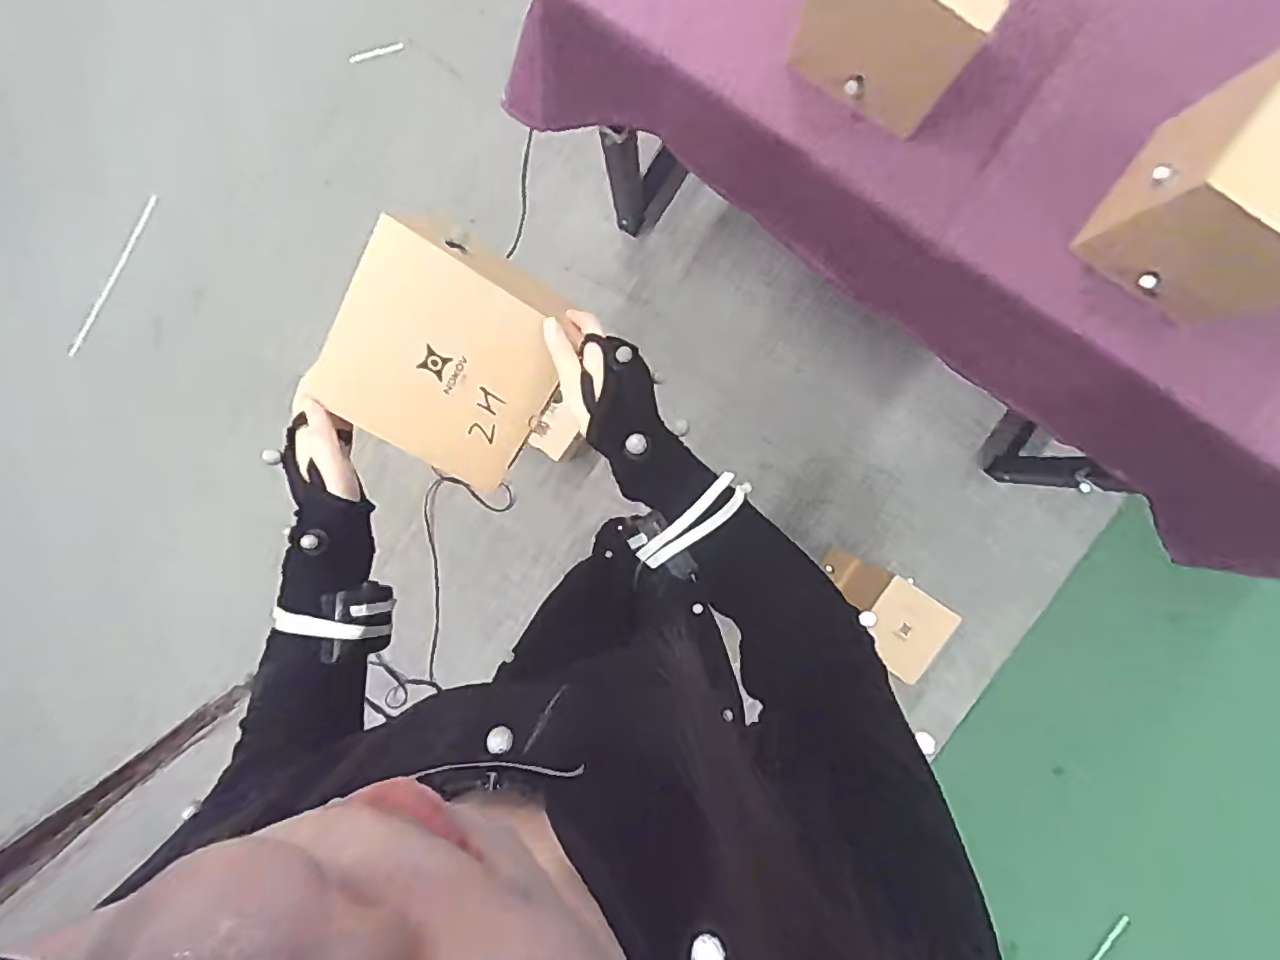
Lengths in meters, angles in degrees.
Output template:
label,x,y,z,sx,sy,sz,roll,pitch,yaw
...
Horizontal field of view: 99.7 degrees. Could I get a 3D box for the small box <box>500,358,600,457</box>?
label,x,y,z,sx,sy,sz,roll,pitch,yaw
small box,-0.212,-0.170,1.334,0.168,0.176,0.179,35,93,-1

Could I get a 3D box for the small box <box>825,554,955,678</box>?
label,x,y,z,sx,sy,sz,roll,pitch,yaw
small box,0.528,0.286,1.177,0.168,0.176,0.179,34,93,-2

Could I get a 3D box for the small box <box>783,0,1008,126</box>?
label,x,y,z,sx,sy,sz,roll,pitch,yaw
small box,0.281,-0.519,0.567,0.179,0.176,0.168,32,93,-1

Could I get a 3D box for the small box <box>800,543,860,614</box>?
label,x,y,z,sx,sy,sz,roll,pitch,yaw
small box,0.524,0.271,1.339,0.179,0.176,0.168,32,94,-1
